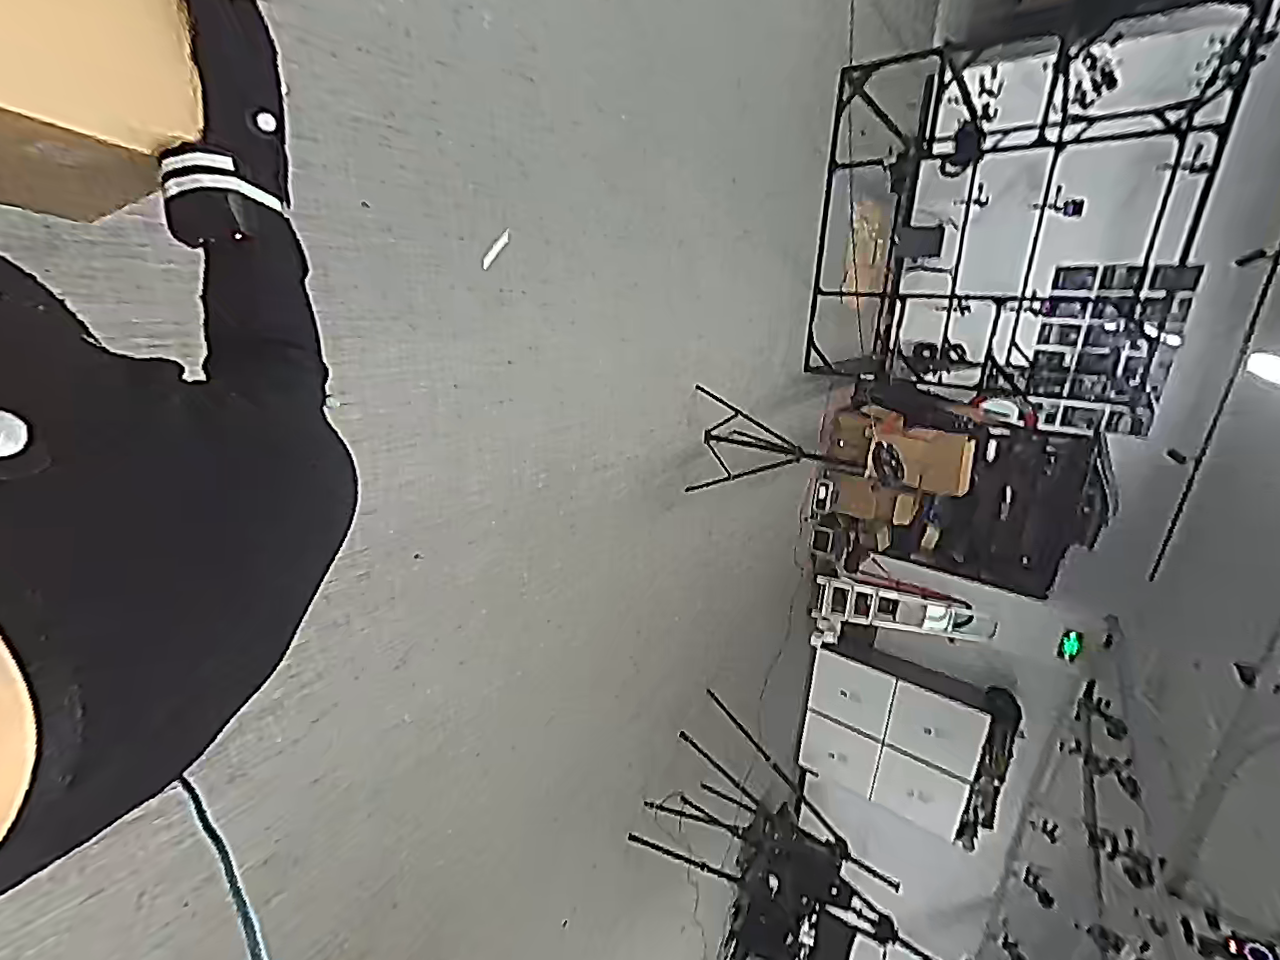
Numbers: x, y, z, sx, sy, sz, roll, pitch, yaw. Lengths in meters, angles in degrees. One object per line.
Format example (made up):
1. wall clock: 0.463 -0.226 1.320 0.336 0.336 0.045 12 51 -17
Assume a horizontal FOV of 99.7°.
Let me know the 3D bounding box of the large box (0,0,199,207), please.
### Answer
1. large box: -0.581 -0.408 0.326 0.408 0.320 0.320 -10 105 -57
